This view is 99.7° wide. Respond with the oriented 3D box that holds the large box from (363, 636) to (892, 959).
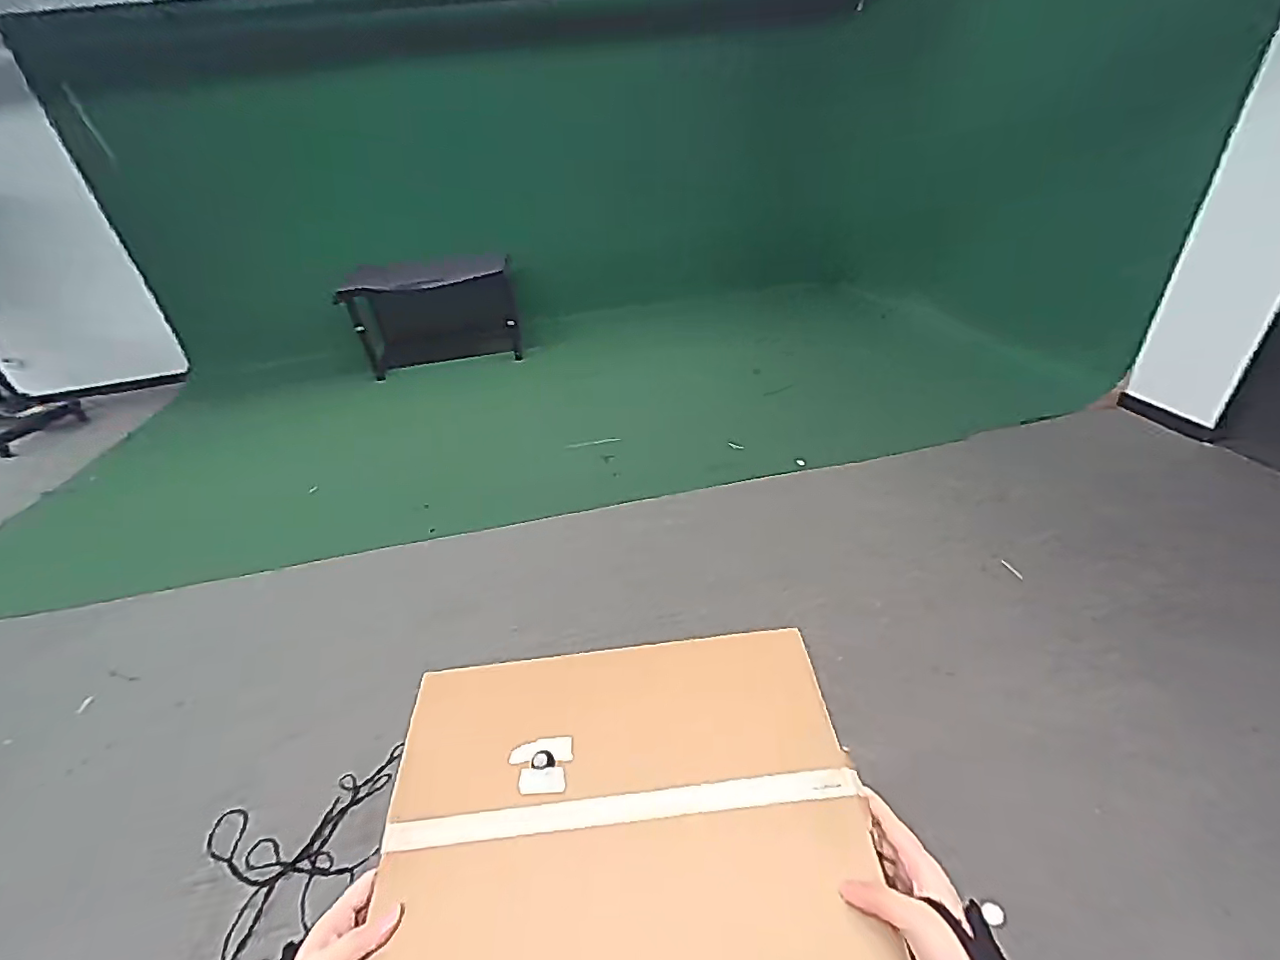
[{"bbox_3d":[-0.007,0.407,0.571,0.408,0.320,0.320,-9,41,1],"label":"large box"}]
